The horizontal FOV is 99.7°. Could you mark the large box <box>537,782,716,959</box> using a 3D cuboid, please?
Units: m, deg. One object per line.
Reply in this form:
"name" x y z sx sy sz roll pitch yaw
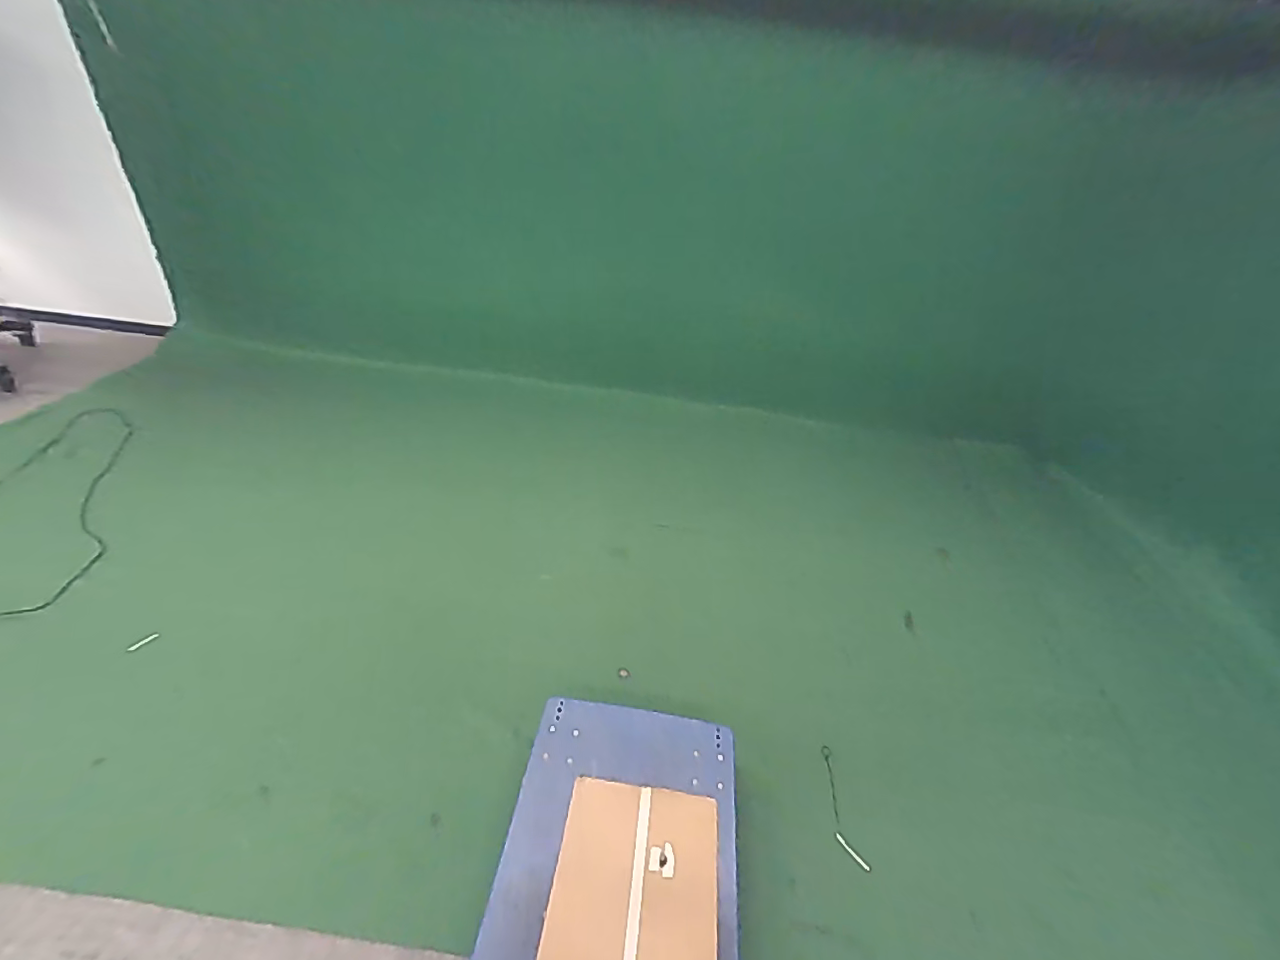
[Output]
"large box" -0.027 0.908 1.088 0.320 0.320 0.408 9 33 2
